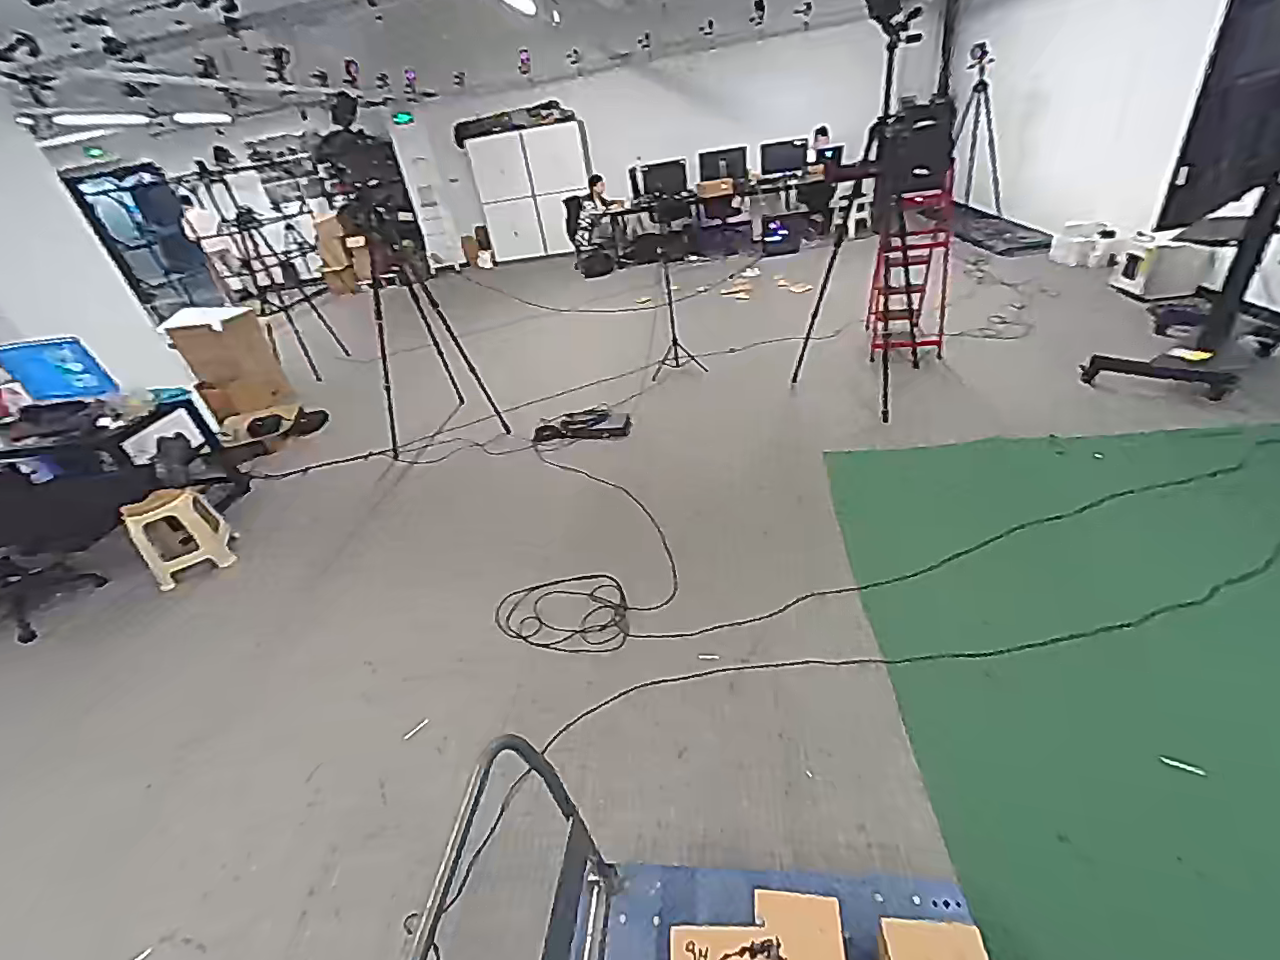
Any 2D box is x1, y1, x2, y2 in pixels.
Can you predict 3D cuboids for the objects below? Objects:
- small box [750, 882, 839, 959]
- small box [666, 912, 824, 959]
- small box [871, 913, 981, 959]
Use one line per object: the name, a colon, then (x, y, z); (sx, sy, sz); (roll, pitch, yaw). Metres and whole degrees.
small box: (0.305, 0.949, 1.080); (0.168, 0.176, 0.179); (-2, 34, 13)
small box: (0.112, 0.593, 0.571); (0.168, 0.176, 0.179); (-1, 37, 5)
small box: (0.542, 0.951, 1.015); (0.179, 0.176, 0.168); (-3, 34, 11)
